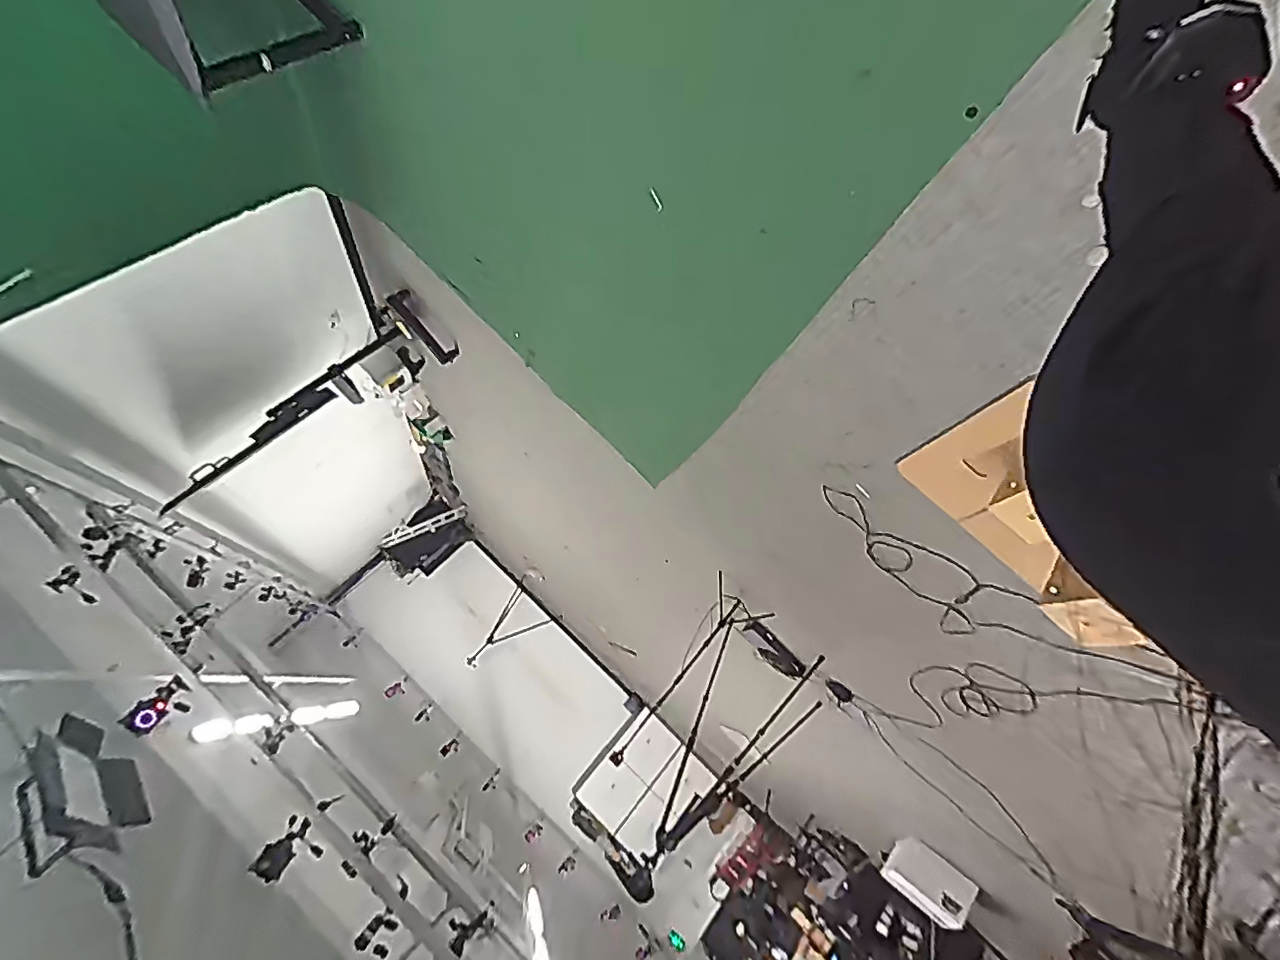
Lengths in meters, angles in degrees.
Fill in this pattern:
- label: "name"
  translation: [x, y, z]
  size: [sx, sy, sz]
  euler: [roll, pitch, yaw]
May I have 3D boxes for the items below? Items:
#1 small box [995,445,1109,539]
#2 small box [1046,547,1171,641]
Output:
- label: "small box"
  translation: [1.175, 0.035, 1.543]
  size: [0.168, 0.176, 0.179]
  euler: [42, 155, 8]
- label: "small box"
  translation: [1.249, 0.305, 1.442]
  size: [0.168, 0.176, 0.179]
  euler: [43, 156, 3]
